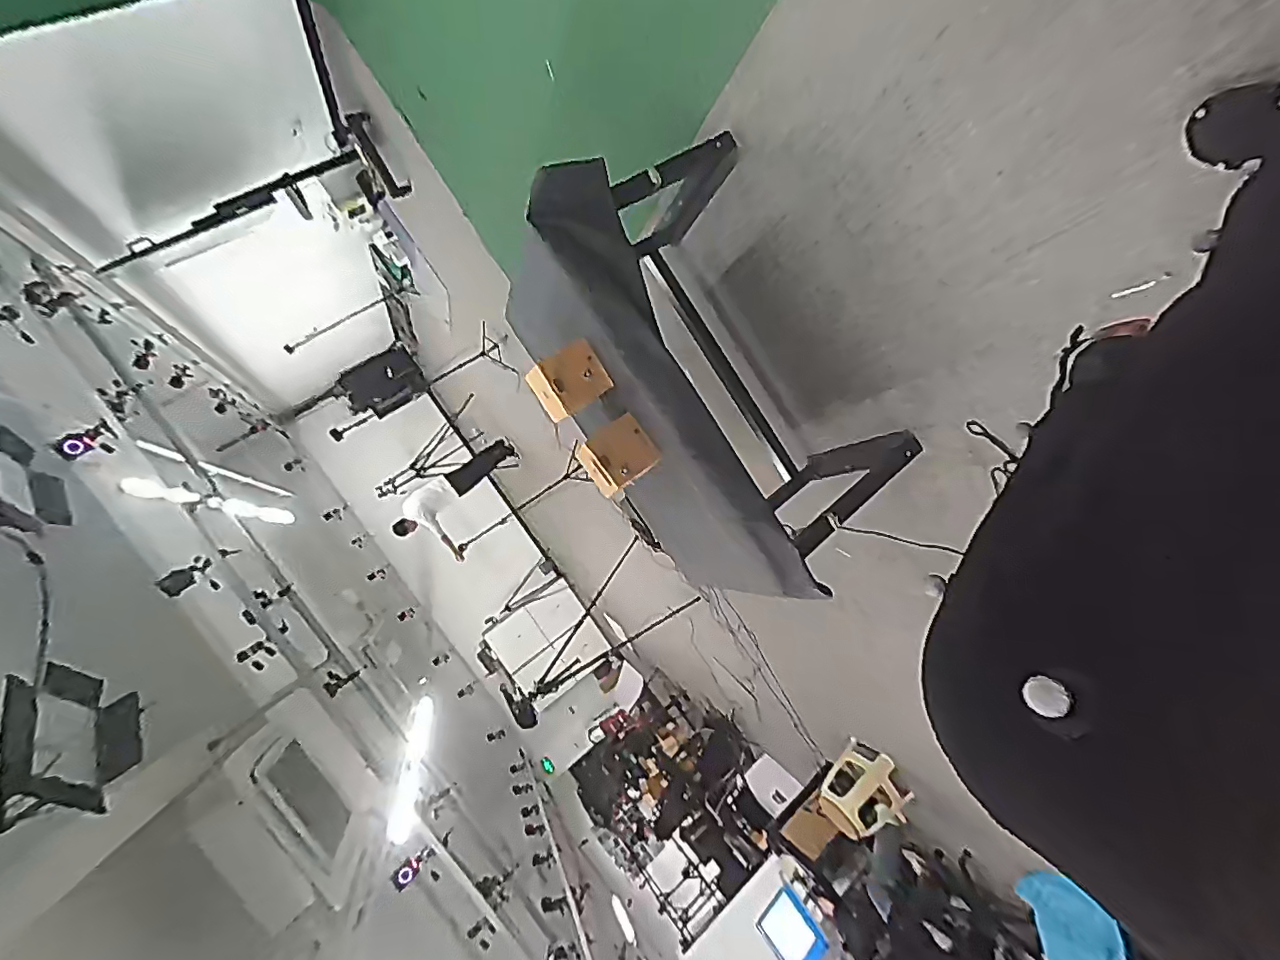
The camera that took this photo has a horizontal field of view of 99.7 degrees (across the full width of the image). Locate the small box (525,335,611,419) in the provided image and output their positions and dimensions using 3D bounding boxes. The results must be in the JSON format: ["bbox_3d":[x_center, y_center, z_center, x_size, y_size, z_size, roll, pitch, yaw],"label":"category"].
[{"bbox_3d":[-0.208,-0.298,1.579,0.168,0.176,0.179,58,160,-10],"label":"small box"}]
